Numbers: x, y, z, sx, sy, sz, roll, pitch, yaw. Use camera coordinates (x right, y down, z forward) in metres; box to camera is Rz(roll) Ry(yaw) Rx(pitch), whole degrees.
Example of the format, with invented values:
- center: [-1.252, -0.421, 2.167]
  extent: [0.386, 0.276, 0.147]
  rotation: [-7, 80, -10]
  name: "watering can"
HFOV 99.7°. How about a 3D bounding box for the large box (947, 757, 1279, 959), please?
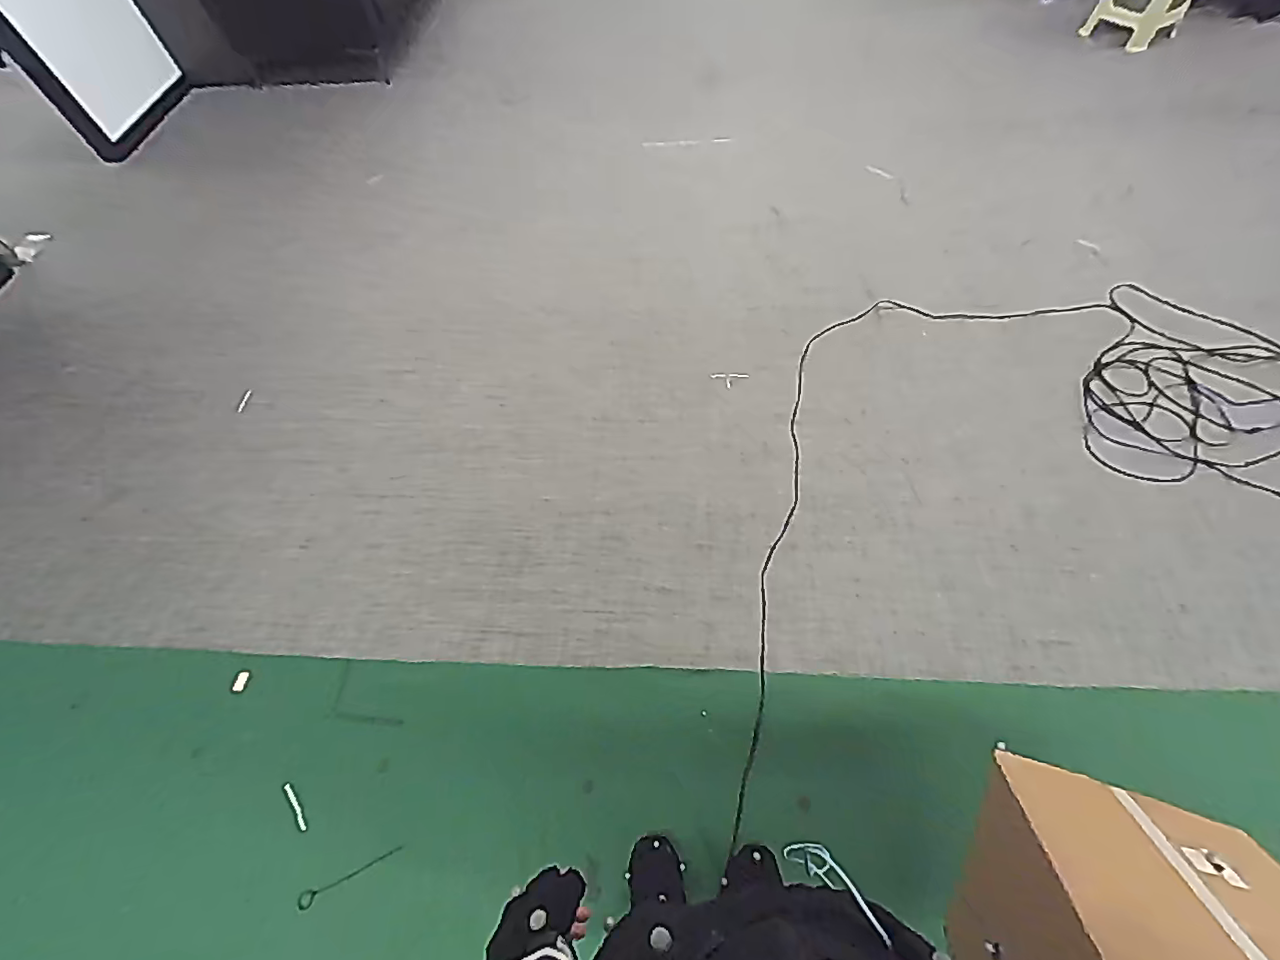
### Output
- center: [0.594, 0.616, 0.624]
  extent: [0.320, 0.408, 0.320]
  rotation: [14, 97, 18]
  name: "large box"
